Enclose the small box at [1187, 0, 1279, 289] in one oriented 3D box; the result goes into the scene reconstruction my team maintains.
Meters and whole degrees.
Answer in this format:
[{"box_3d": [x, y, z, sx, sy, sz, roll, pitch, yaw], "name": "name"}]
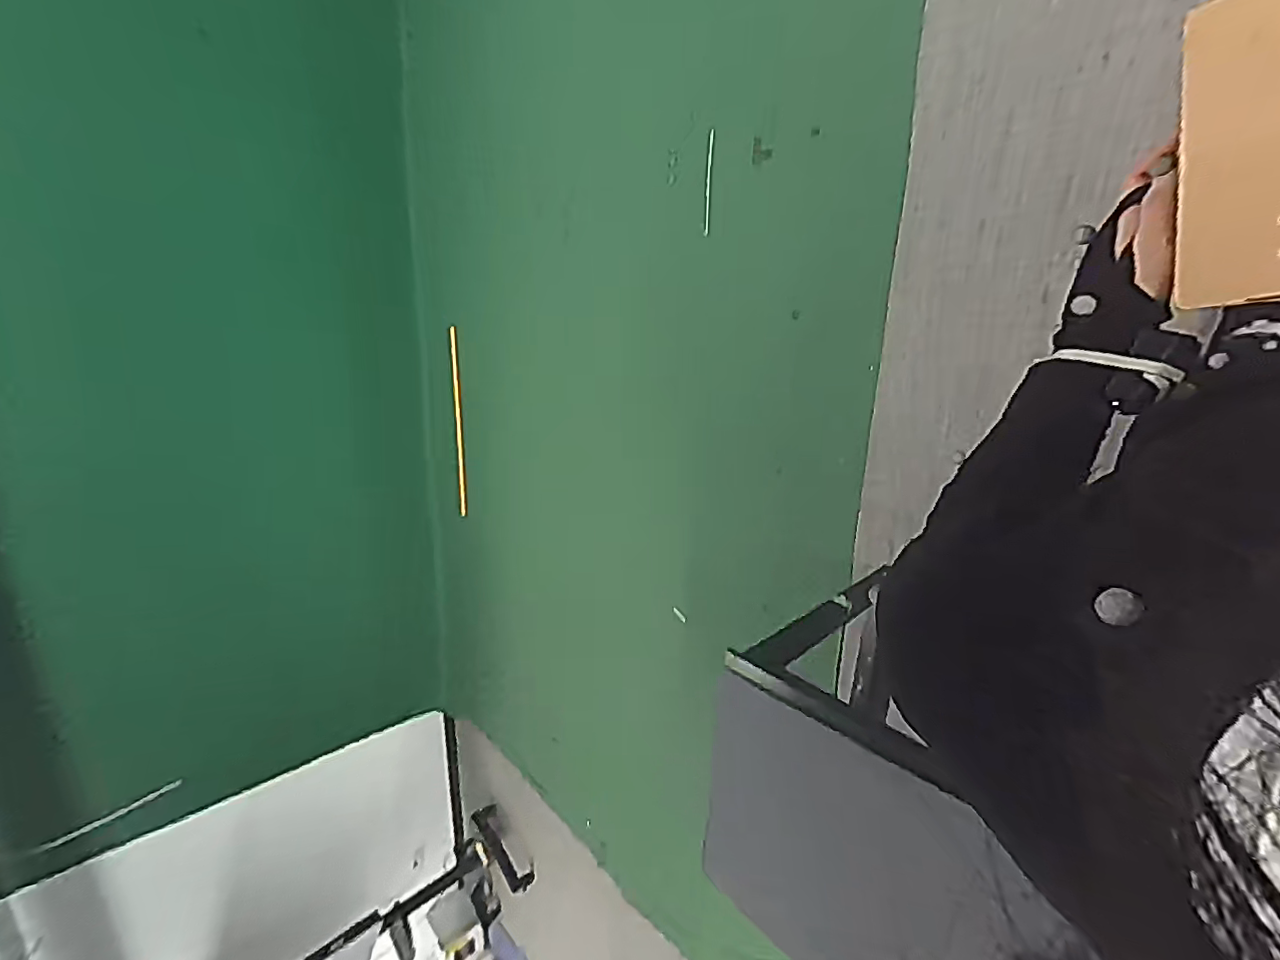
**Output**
[{"box_3d": [0.448, -0.221, 0.322, 0.168, 0.176, 0.179, 3, 105, 47], "name": "small box"}]
